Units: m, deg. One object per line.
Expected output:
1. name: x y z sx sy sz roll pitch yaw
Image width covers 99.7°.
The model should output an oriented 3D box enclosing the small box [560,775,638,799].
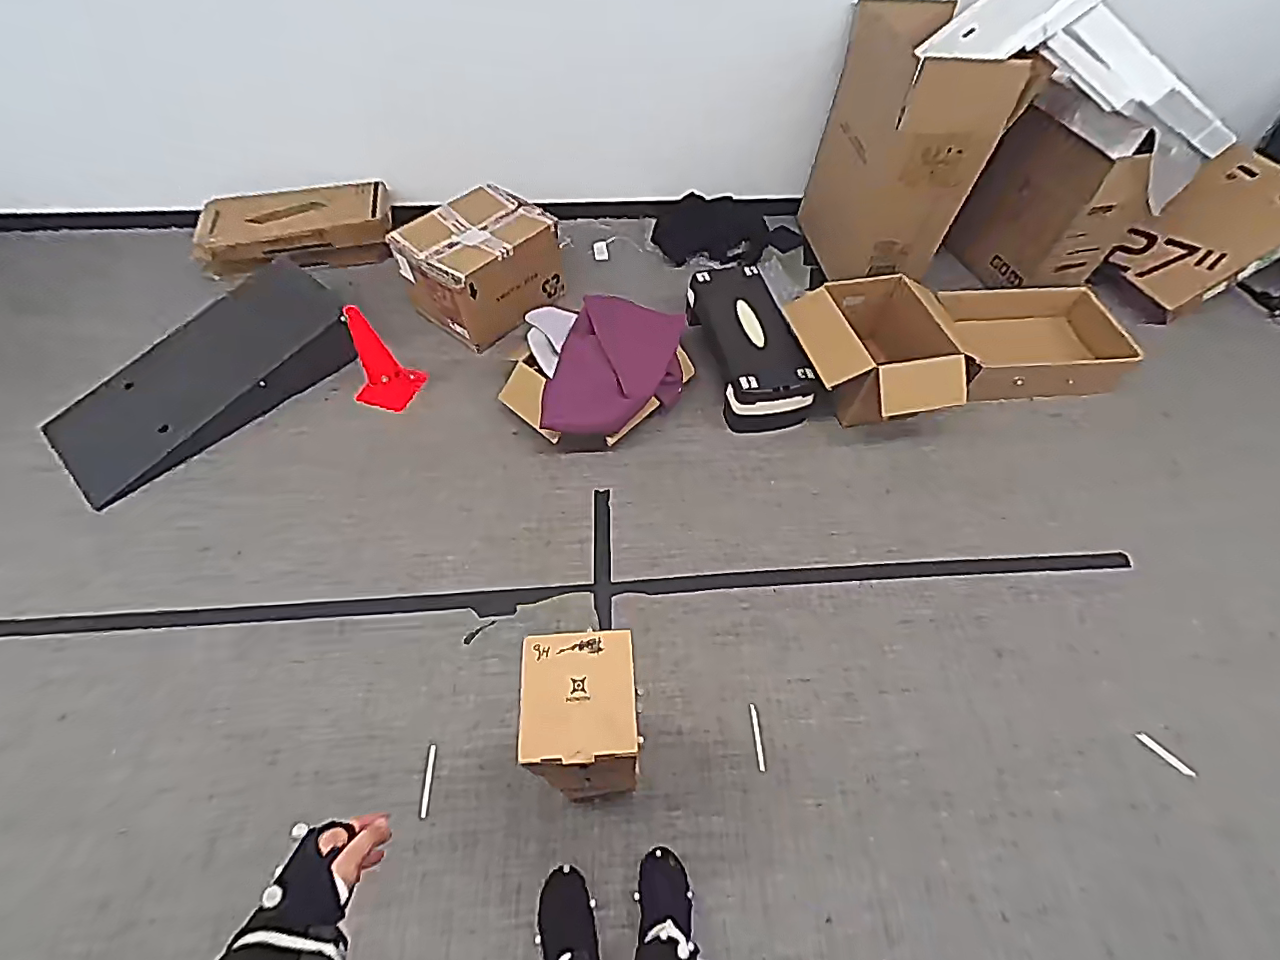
1. small box: -0.099 0.623 1.248 0.168 0.176 0.179 -7 58 -5

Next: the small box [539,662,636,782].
1. small box: -0.091 0.437 0.976 0.168 0.176 0.179 -1 57 -1

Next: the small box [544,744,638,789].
1. small box: -0.096 0.531 1.112 0.179 0.176 0.168 -3 57 -3

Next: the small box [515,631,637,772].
1. small box: -0.091 0.348 0.839 0.168 0.176 0.179 -3 57 -2
